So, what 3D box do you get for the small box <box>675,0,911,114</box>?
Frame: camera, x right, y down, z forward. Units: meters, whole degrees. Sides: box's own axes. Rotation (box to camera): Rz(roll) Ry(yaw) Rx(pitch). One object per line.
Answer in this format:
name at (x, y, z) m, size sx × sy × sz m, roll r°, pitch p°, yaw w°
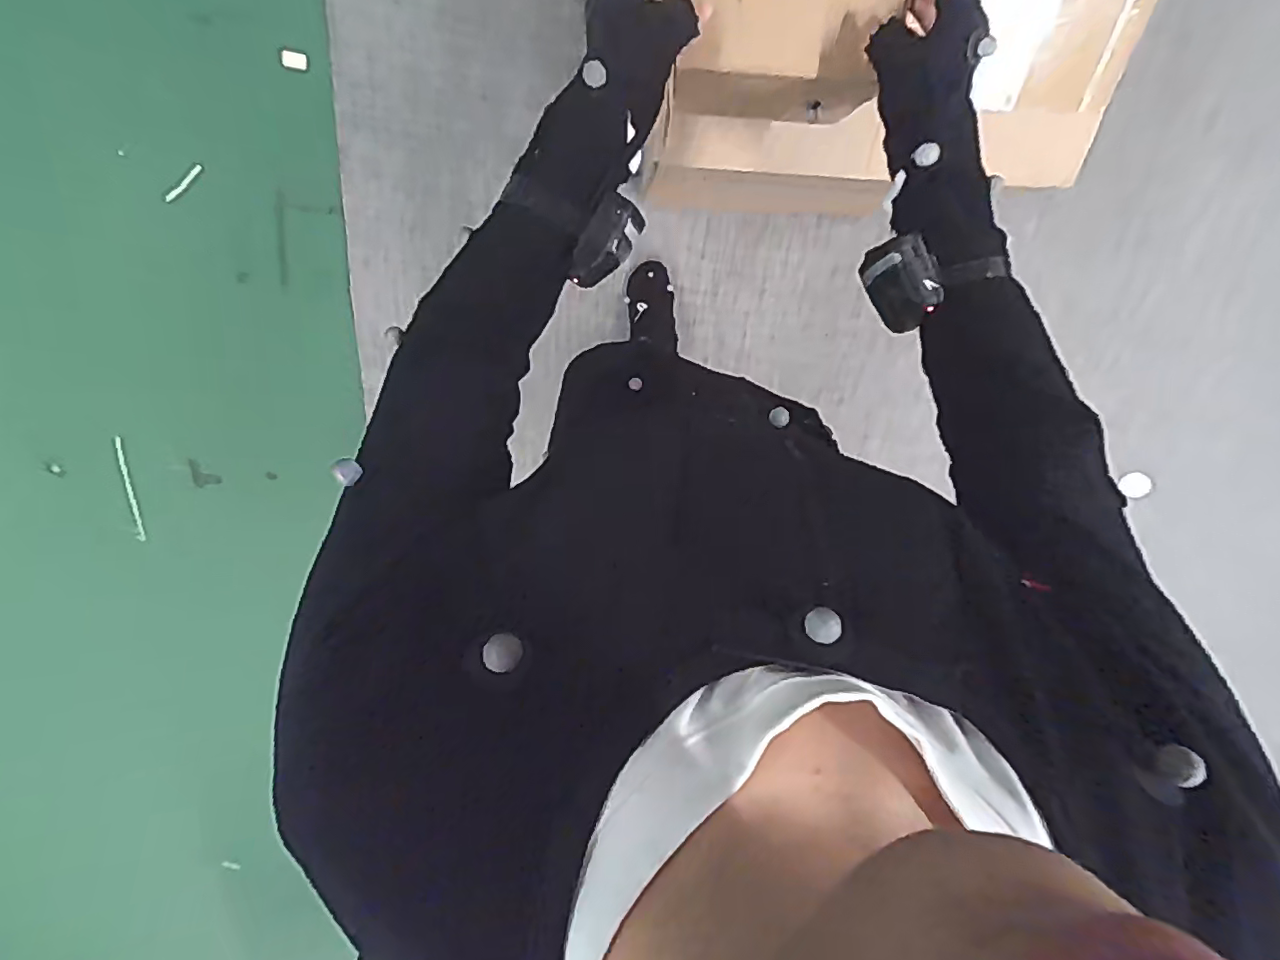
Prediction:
small box at (0.126, -0.436, 0.473) m, size 0.179 × 0.176 × 0.168 m, roll 4°, pitch 114°, yaw 1°
